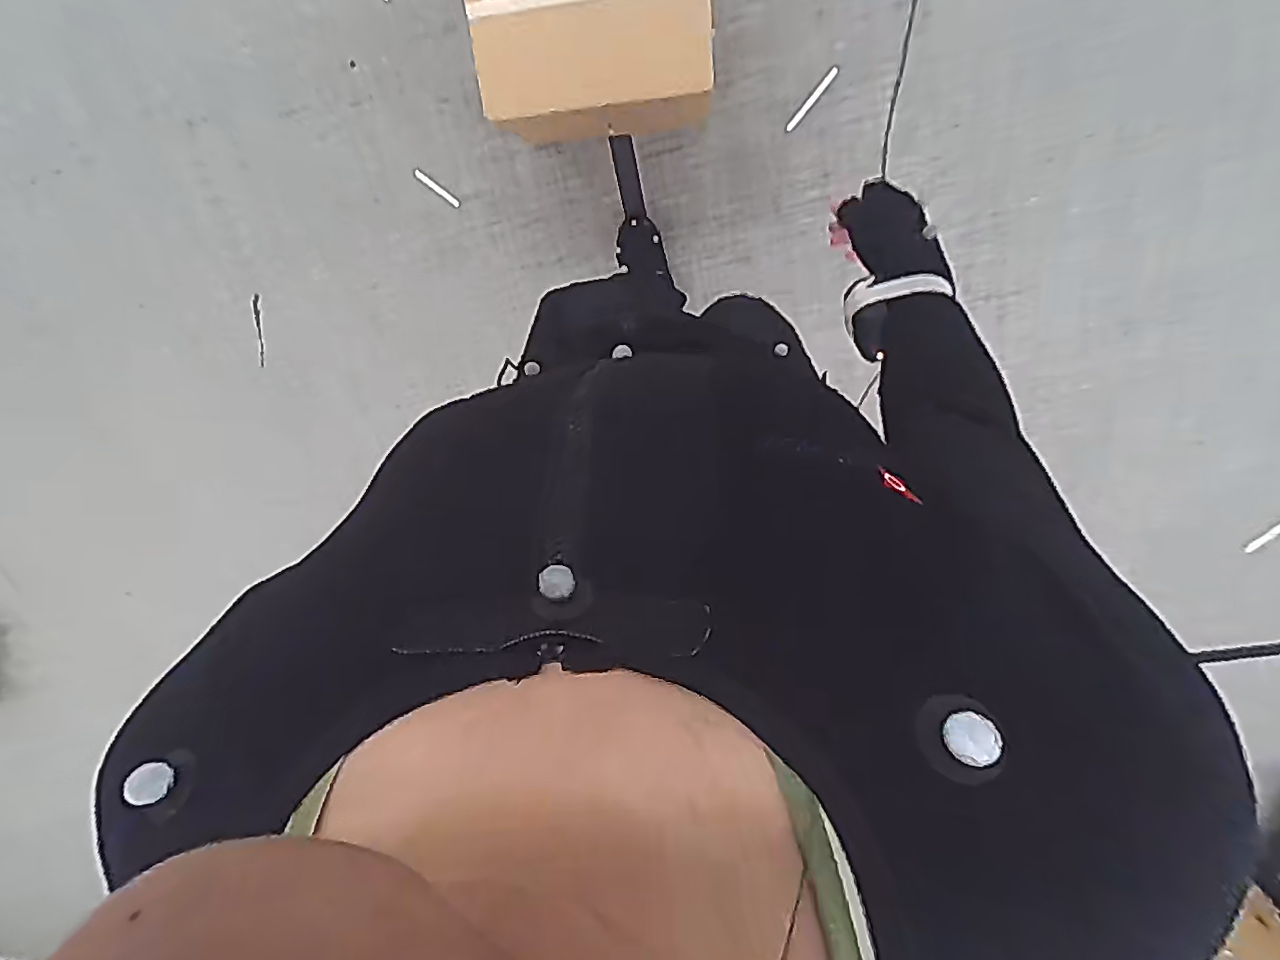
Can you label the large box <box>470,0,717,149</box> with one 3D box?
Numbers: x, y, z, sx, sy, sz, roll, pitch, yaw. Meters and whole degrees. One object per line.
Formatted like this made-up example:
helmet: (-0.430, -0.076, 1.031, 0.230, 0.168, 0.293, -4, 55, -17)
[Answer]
large box: (-0.073, -0.845, 1.012, 0.408, 0.320, 0.320, -4, 115, 7)
